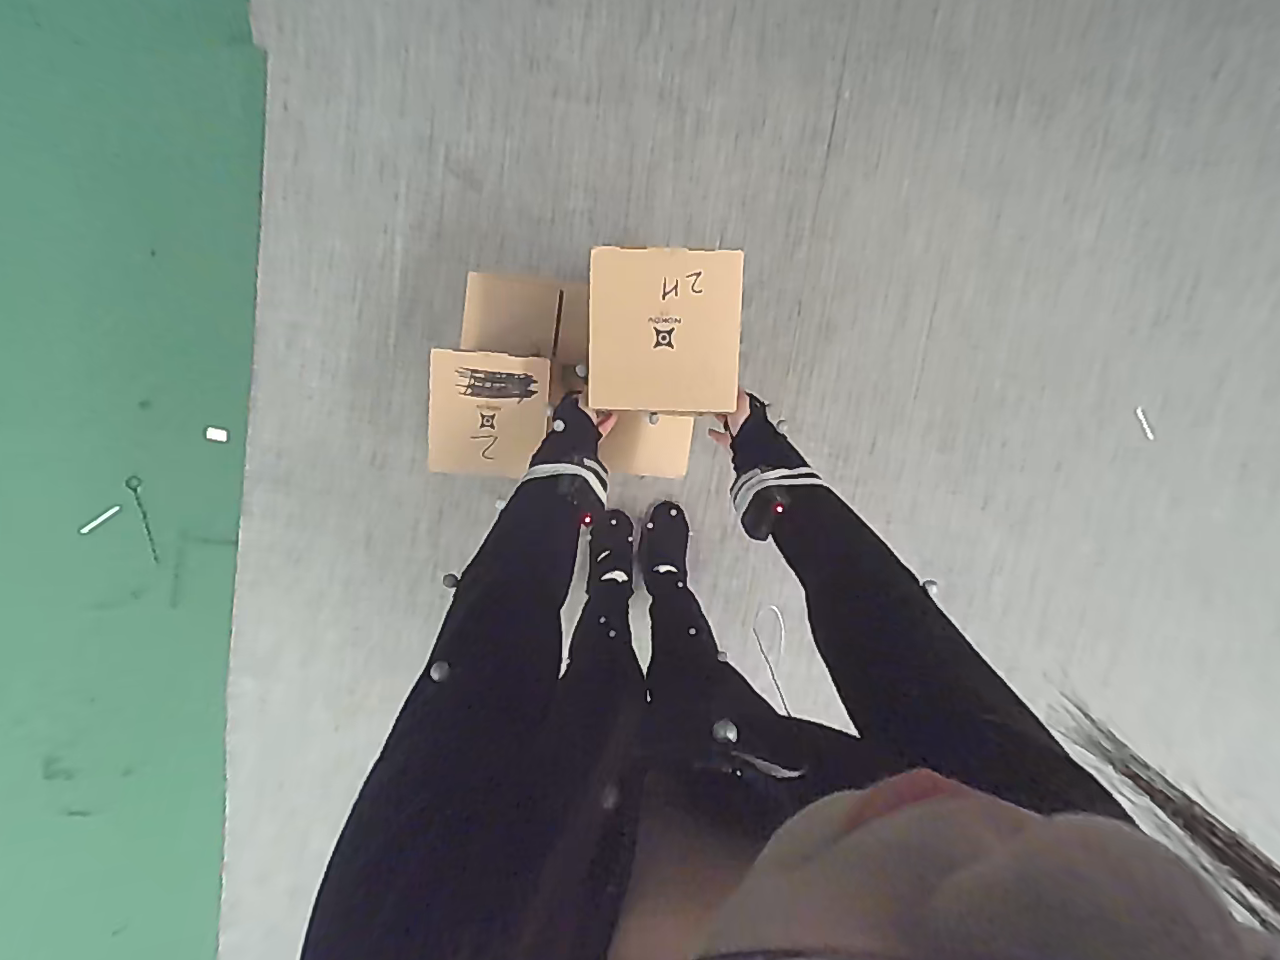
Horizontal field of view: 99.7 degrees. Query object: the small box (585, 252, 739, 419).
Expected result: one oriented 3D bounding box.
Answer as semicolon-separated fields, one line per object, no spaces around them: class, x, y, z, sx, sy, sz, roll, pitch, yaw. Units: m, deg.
small box;0.023;-0.168;0.678;0.168;0.176;0.179;2;97;-1
